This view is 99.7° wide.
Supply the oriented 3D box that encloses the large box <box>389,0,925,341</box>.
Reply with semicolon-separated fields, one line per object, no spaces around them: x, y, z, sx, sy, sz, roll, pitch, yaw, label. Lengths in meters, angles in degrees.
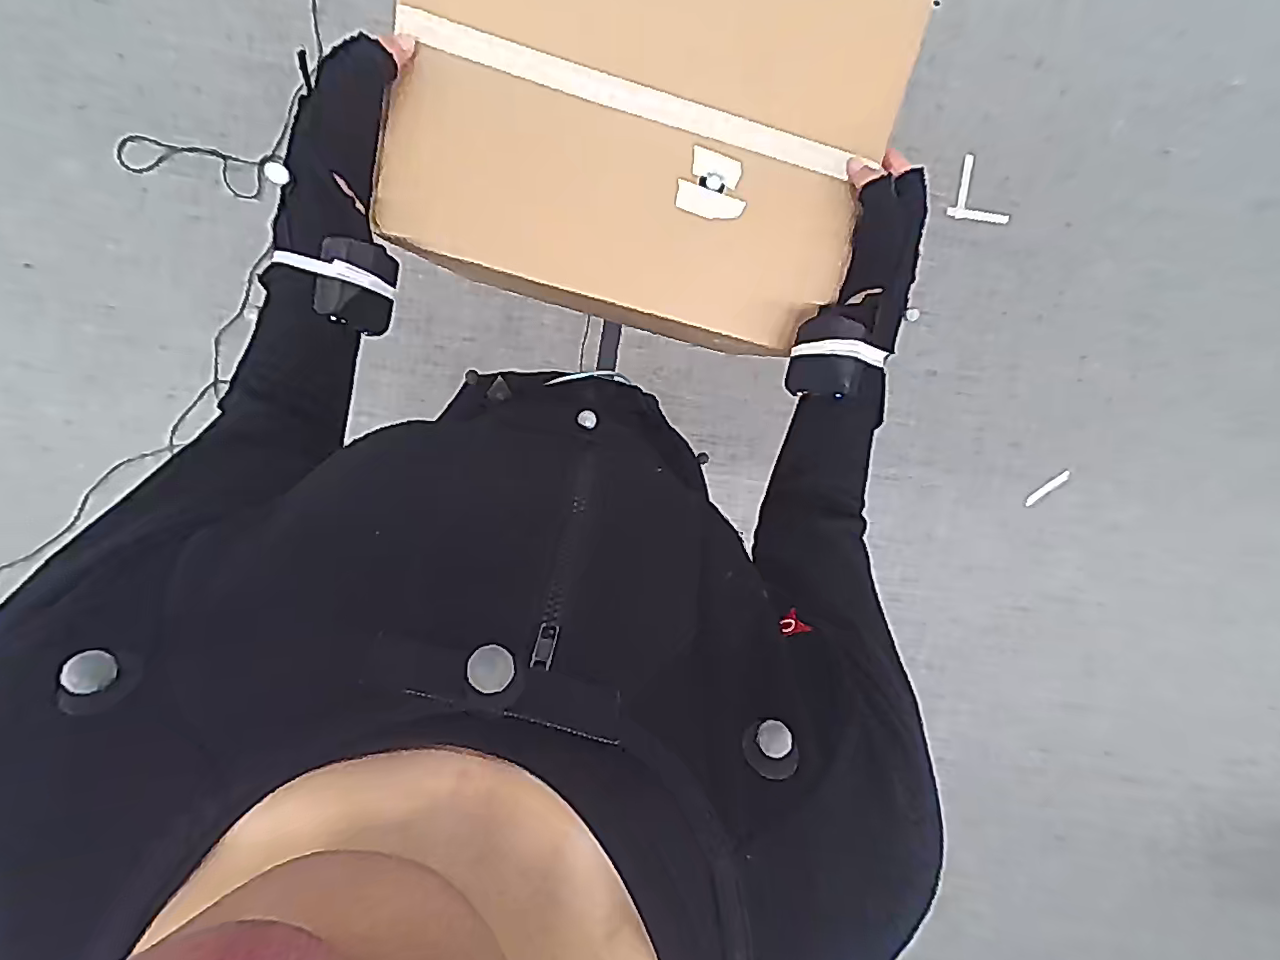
-0.001;-0.353;0.592;0.408;0.320;0.320;13;104;-8;large box
